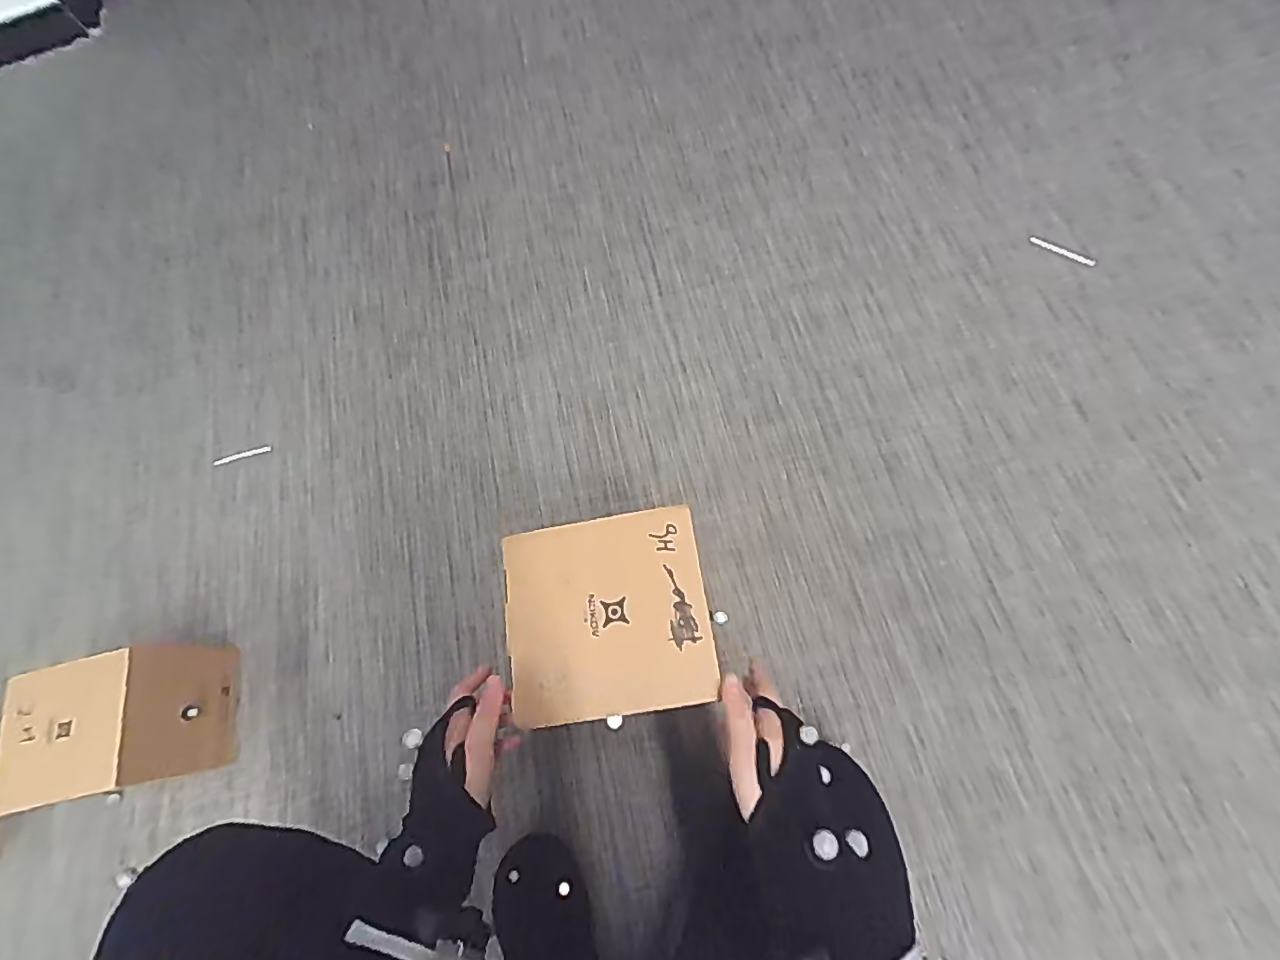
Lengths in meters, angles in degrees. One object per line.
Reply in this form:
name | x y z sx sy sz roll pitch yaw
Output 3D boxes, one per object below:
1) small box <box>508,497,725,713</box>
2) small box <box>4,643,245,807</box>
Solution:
small box | -0.015 0.131 0.541 0.179 0.176 0.168 -11 70 6
small box | -0.695 0.329 0.754 0.179 0.176 0.168 -14 69 4
